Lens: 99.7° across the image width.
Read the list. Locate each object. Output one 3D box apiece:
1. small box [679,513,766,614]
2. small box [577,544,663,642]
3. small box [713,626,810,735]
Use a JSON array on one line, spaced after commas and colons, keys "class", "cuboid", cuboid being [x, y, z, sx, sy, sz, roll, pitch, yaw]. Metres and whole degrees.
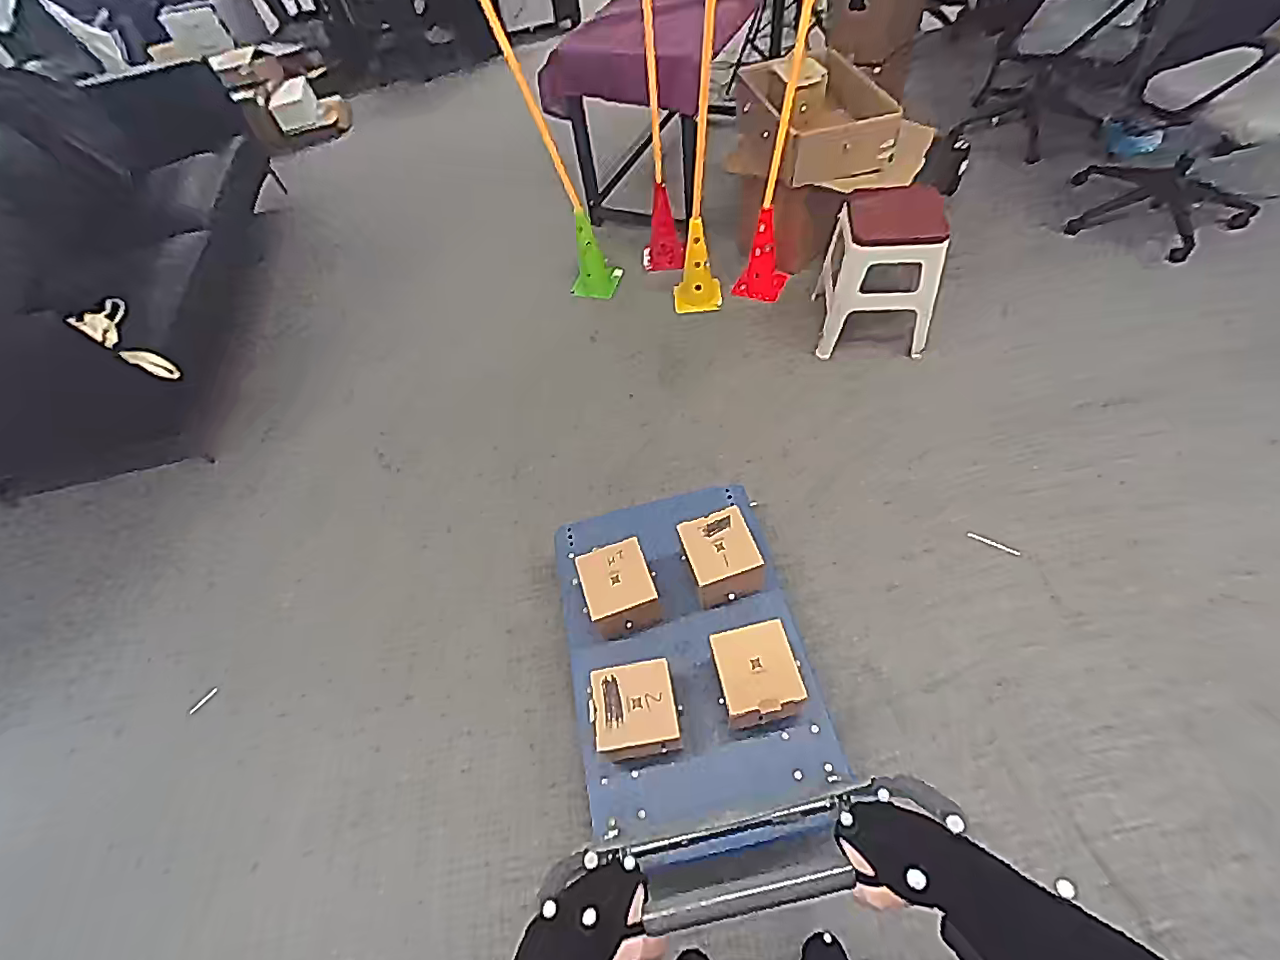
[{"class": "small box", "cuboid": [0.207, 0.217, 1.387, 0.168, 0.176, 0.179, -18, 57, -3]}, {"class": "small box", "cuboid": [-0.047, 0.296, 1.374, 0.168, 0.176, 0.179, -18, 56, -5]}, {"class": "small box", "cuboid": [0.264, 0.456, 1.222, 0.168, 0.176, 0.179, -14, 56, 0]}]
